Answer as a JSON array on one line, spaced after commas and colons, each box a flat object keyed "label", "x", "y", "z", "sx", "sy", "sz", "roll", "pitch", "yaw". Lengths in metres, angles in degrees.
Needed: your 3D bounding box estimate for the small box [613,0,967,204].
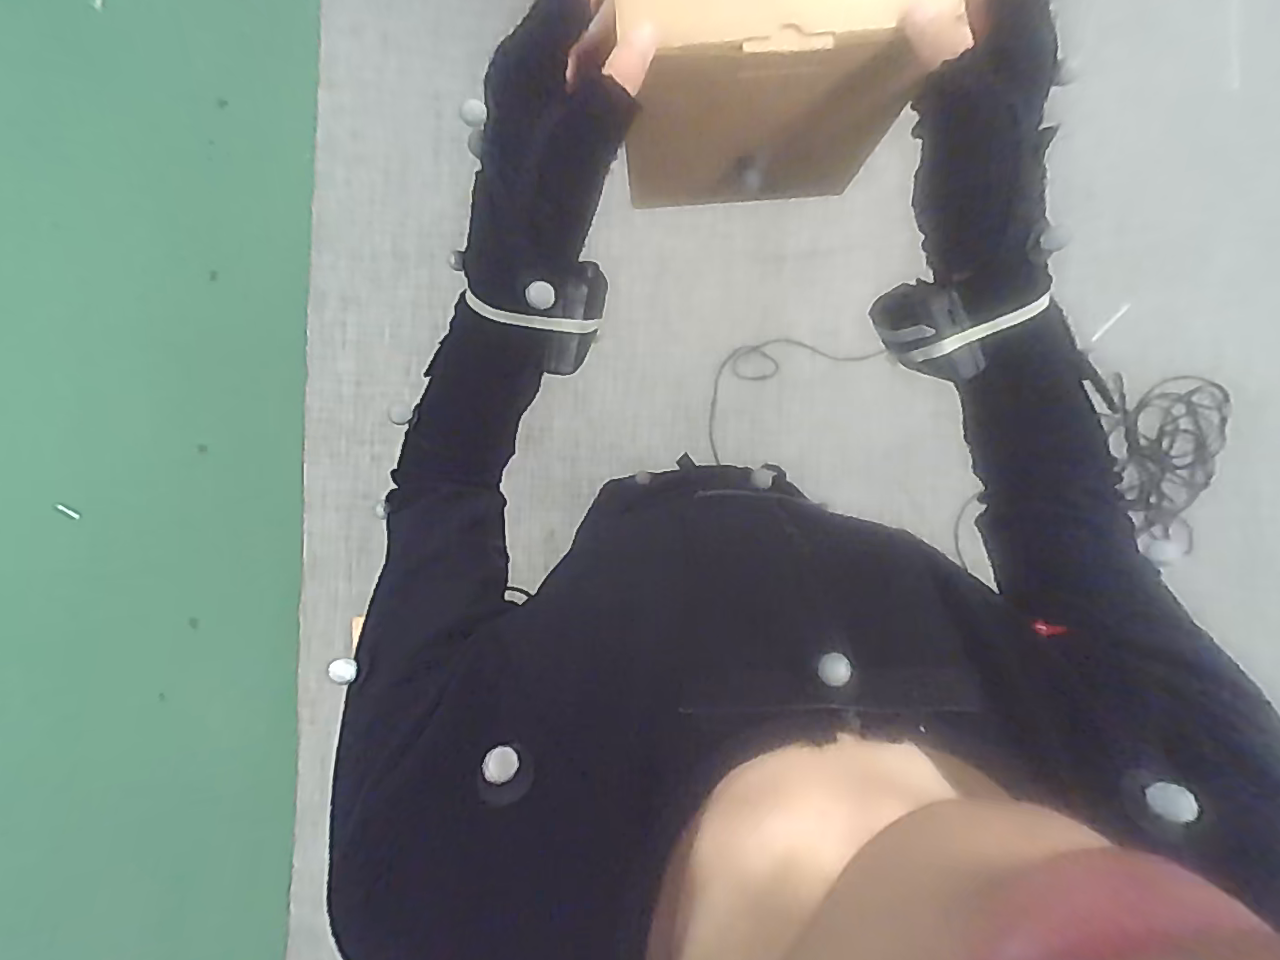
[{"label": "small box", "x": 0.068, "y": -0.298, "z": 0.329, "sx": 0.168, "sy": 0.176, "sz": 0.179, "roll": -3, "pitch": 92, "yaw": 3}]
